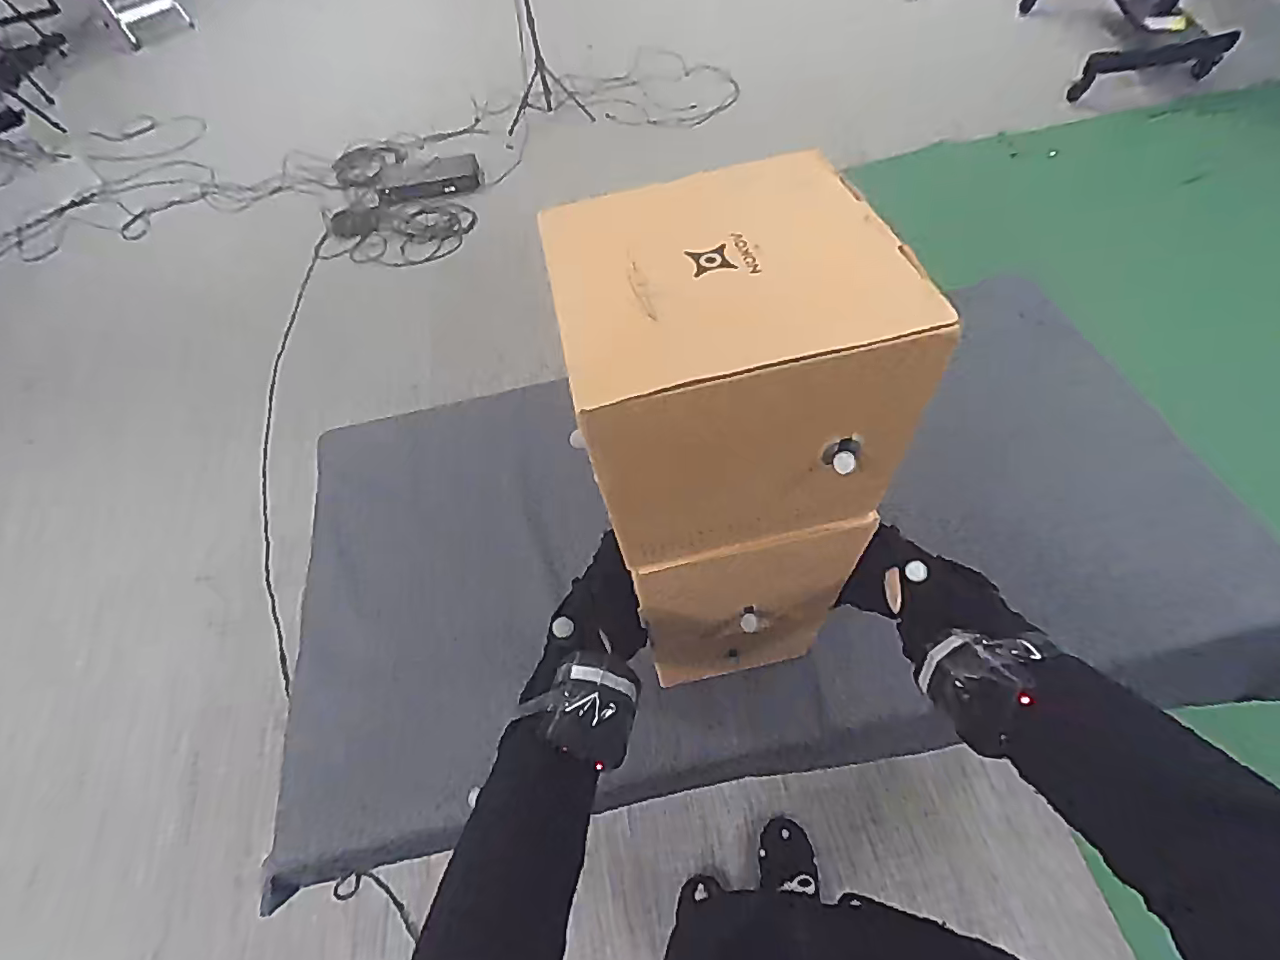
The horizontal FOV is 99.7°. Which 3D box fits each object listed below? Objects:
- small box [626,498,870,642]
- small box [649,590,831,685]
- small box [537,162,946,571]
[{"bbox_3d":[0.068,0.027,0.481,0.179,0.176,0.168,-12,55,-2],"label":"small box"},{"bbox_3d":[0.086,0.118,0.618,0.179,0.176,0.168,-14,58,-4],"label":"small box"},{"bbox_3d":[0.047,-0.062,0.348,0.179,0.176,0.168,-14,55,0],"label":"small box"}]
